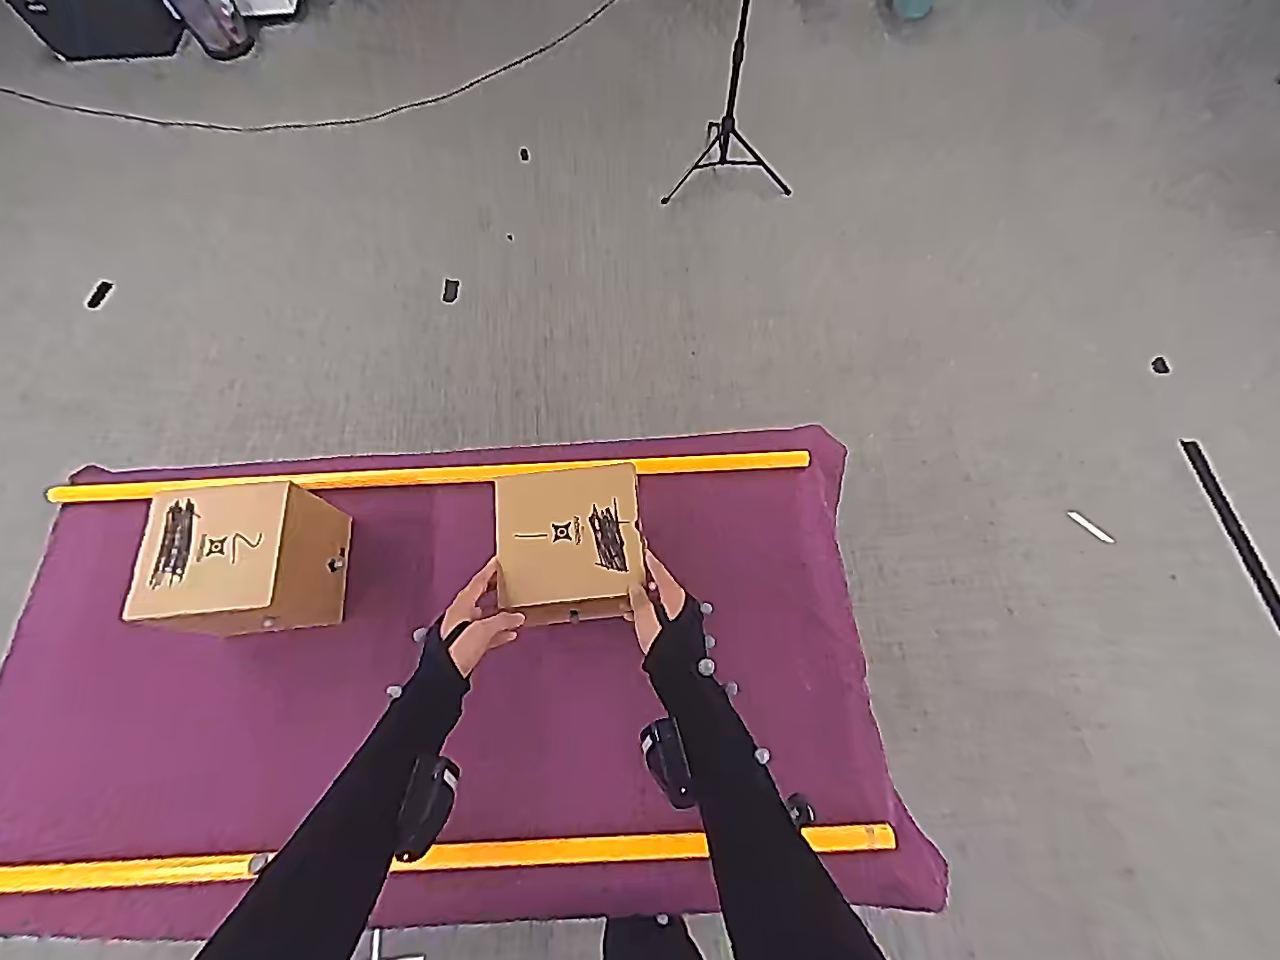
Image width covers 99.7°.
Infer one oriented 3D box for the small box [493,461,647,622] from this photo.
[{"bbox_3d":[-0.086,0.088,0.711,0.179,0.176,0.168,-6,68,-1],"label":"small box"}]
